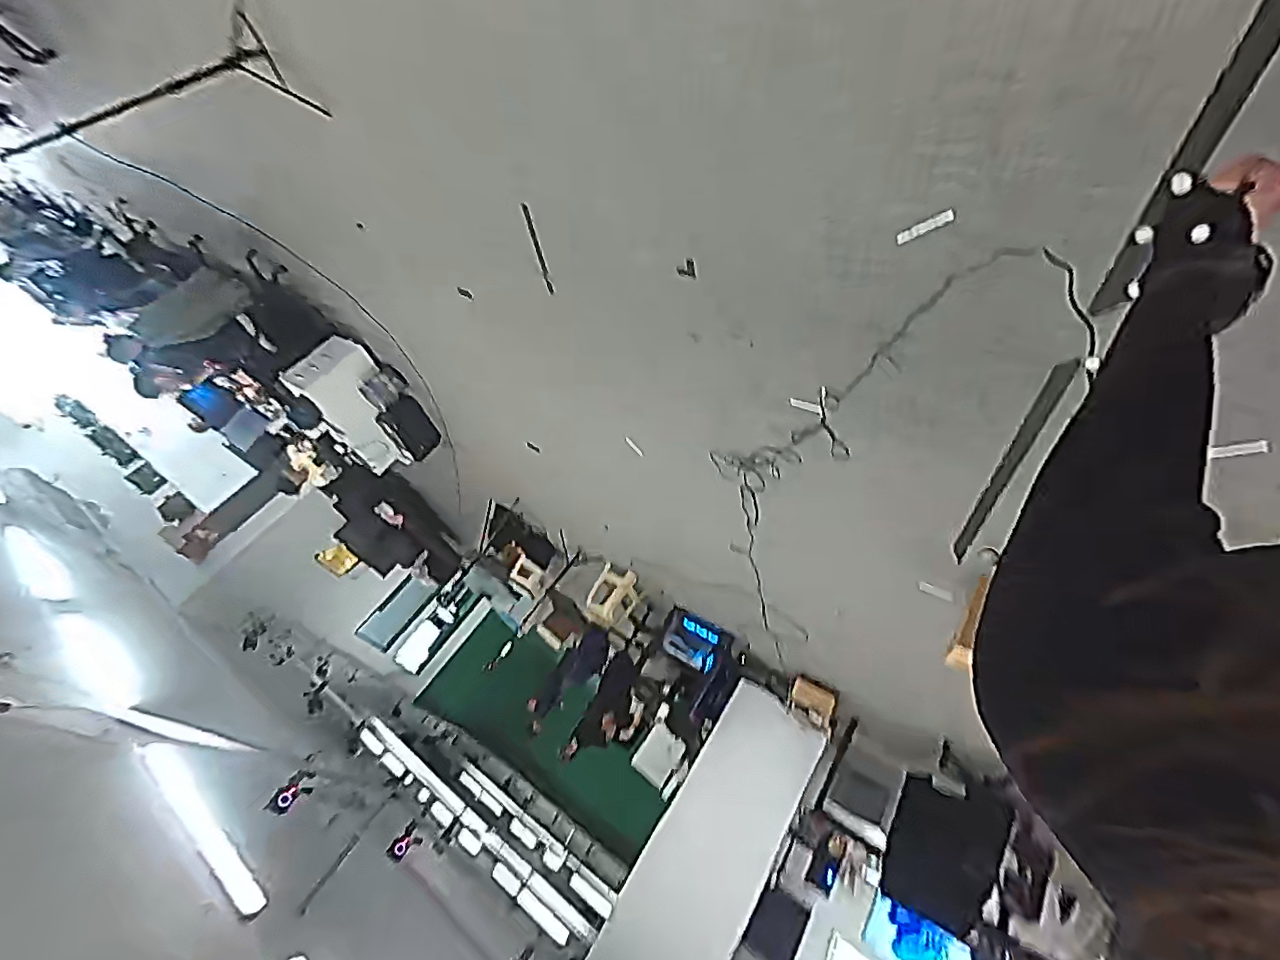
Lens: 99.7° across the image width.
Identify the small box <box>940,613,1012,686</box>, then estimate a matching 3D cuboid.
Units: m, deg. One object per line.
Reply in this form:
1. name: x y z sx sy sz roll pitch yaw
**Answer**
1. small box: 1.261 0.634 2.024 0.168 0.176 0.179 24 150 26
